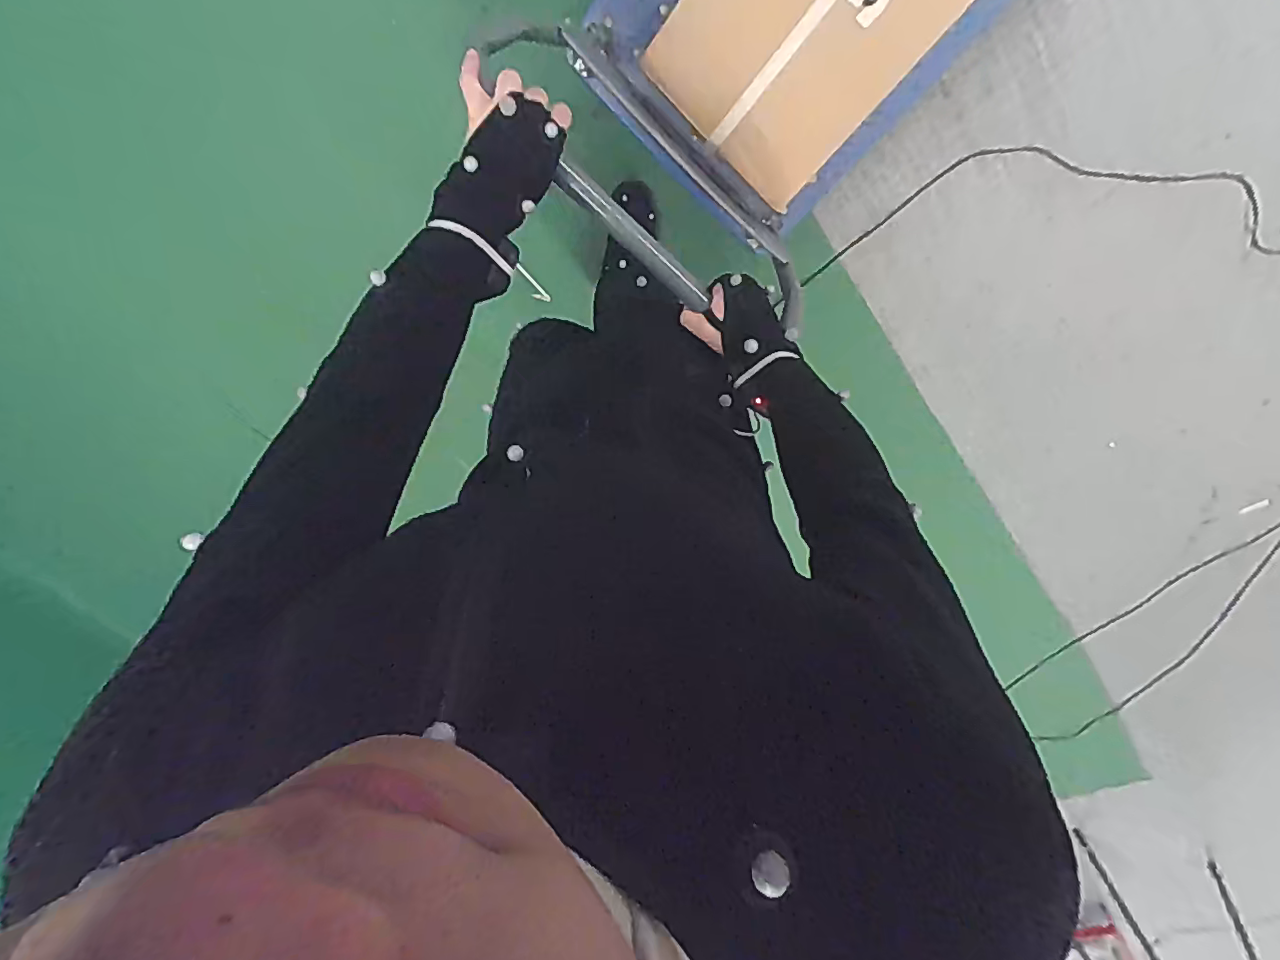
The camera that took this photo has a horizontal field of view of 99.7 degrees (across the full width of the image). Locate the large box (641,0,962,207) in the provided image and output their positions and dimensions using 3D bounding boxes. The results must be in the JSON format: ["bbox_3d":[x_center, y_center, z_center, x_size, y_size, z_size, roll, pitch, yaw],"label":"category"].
[{"bbox_3d":[0.249,-0.743,0.904,0.320,0.320,0.408,37,118,-18],"label":"large box"}]
